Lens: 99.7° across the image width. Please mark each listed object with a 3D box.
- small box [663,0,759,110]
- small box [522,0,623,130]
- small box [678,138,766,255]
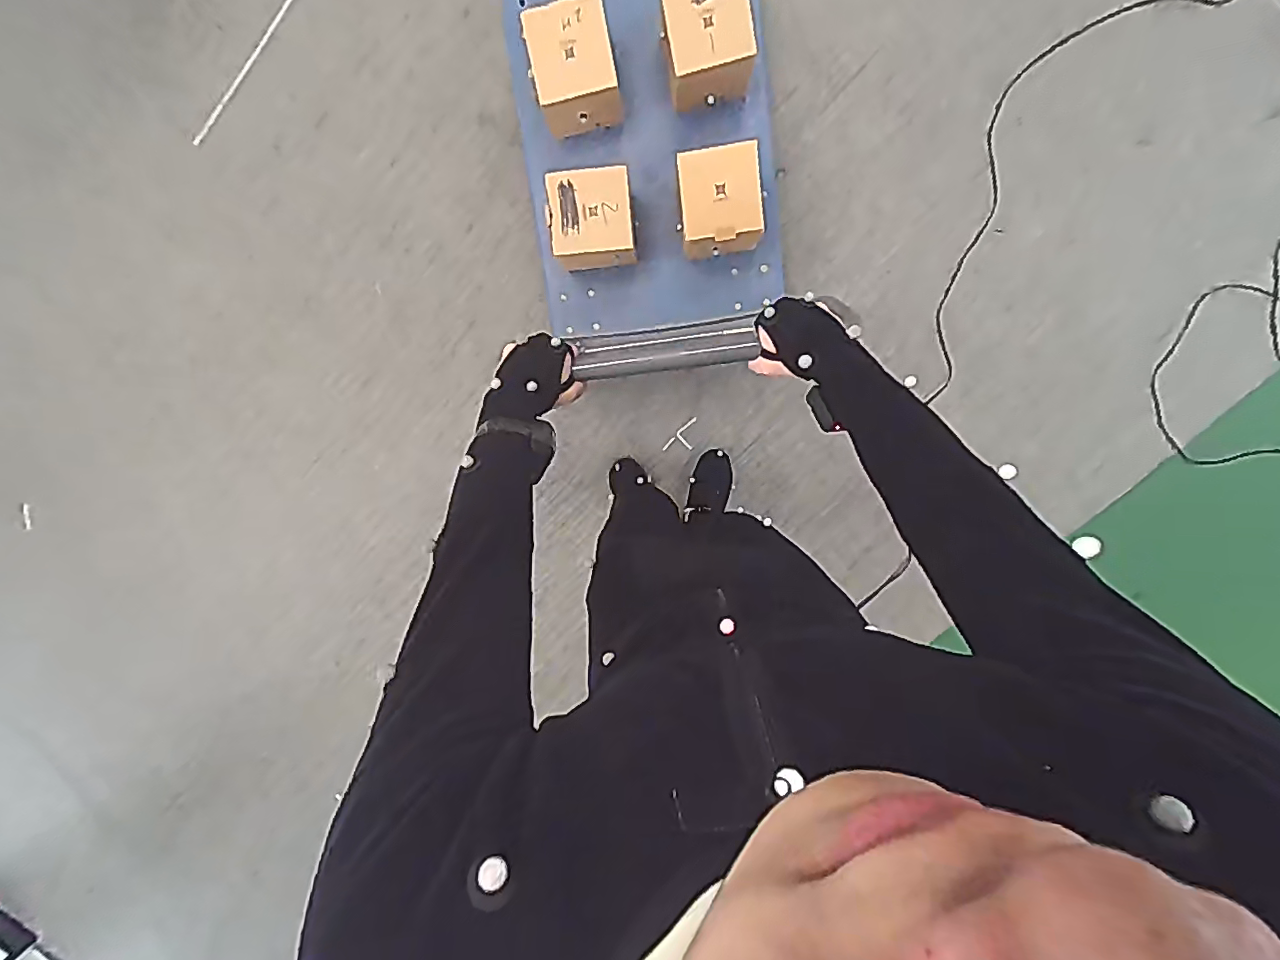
[{"bbox_3d":[0.141,-0.921,1.126,0.168,0.176,0.179,-11,101,6],"label":"small box"},{"bbox_3d":[-0.134,-0.878,1.151,0.168,0.176,0.179,-11,101,5],"label":"small box"},{"bbox_3d":[0.174,-0.612,1.189,0.168,0.176,0.179,-7,101,5],"label":"small box"}]
